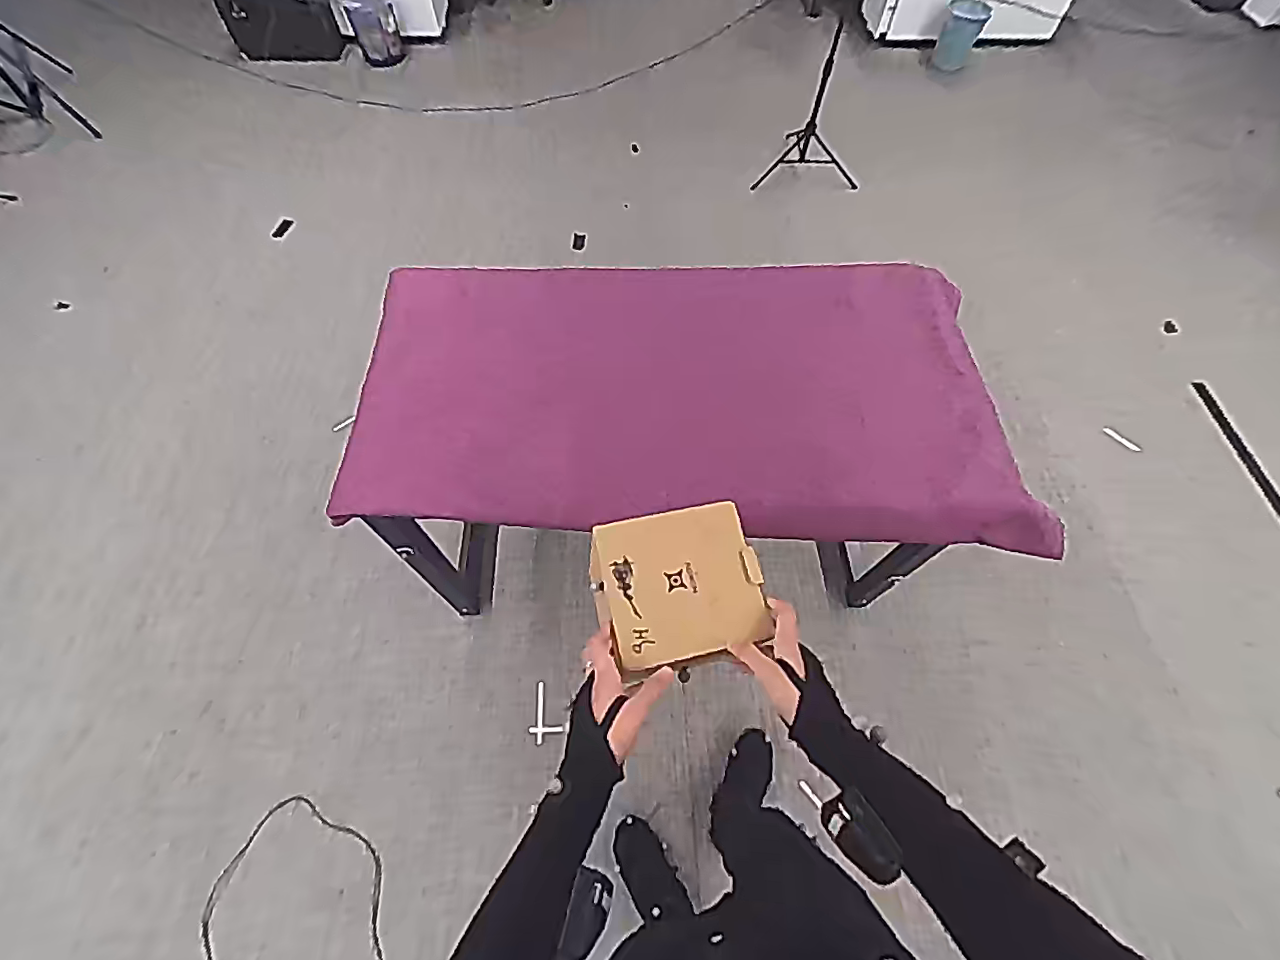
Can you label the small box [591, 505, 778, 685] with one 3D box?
[{"bbox_3d":[0.041,0.148,0.673,0.179,0.176,0.168,-9,66,-12],"label":"small box"}]
